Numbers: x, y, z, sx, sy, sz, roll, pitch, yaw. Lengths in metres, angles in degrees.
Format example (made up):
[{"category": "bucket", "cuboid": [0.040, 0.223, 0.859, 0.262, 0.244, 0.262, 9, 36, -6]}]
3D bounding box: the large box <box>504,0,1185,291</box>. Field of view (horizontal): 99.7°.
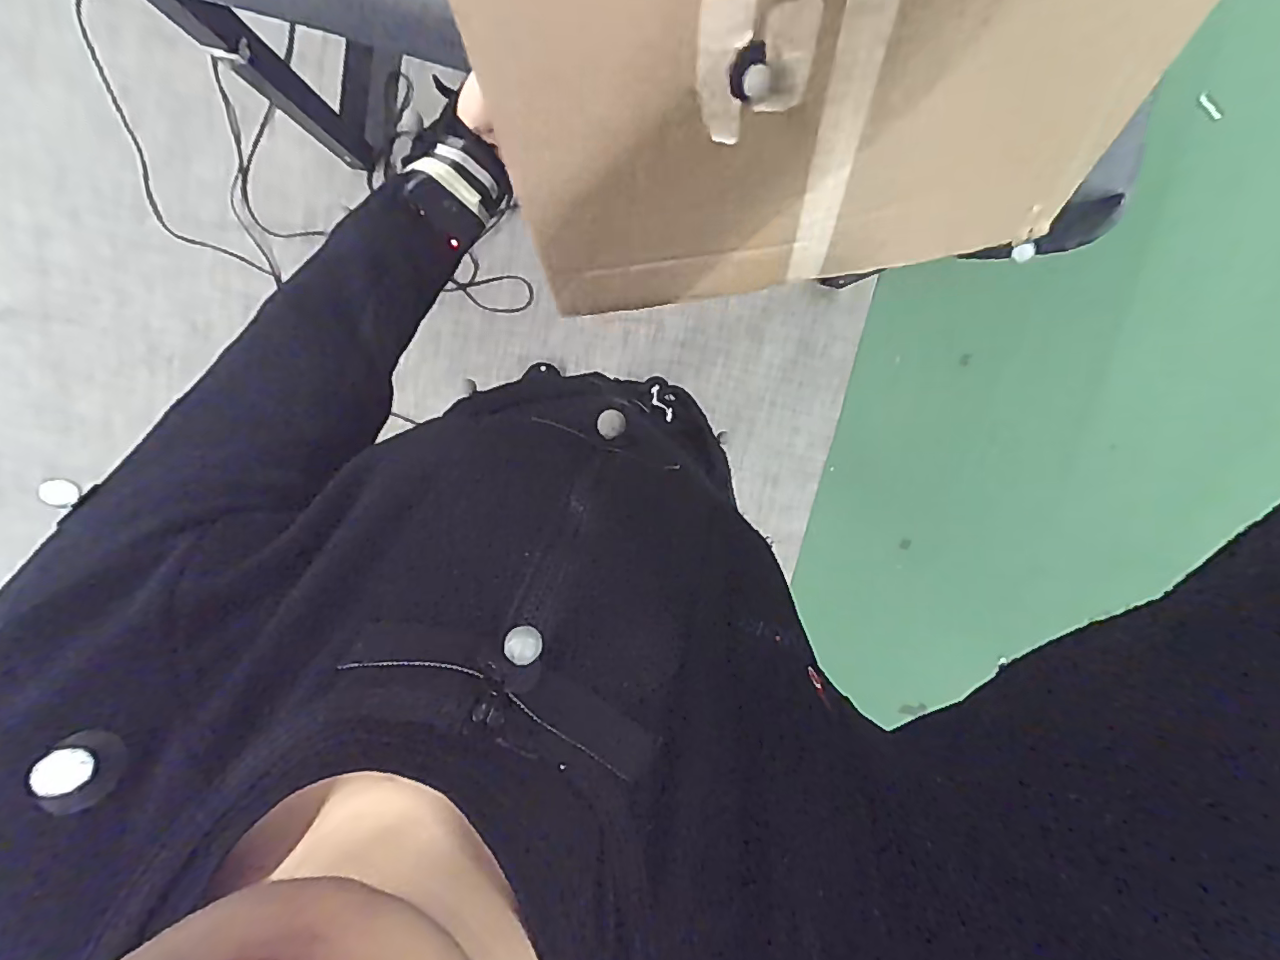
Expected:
[{"category": "large box", "cuboid": [0.070, -0.362, 0.229, 0.320, 0.408, 0.320, -10, 69, 2]}]
